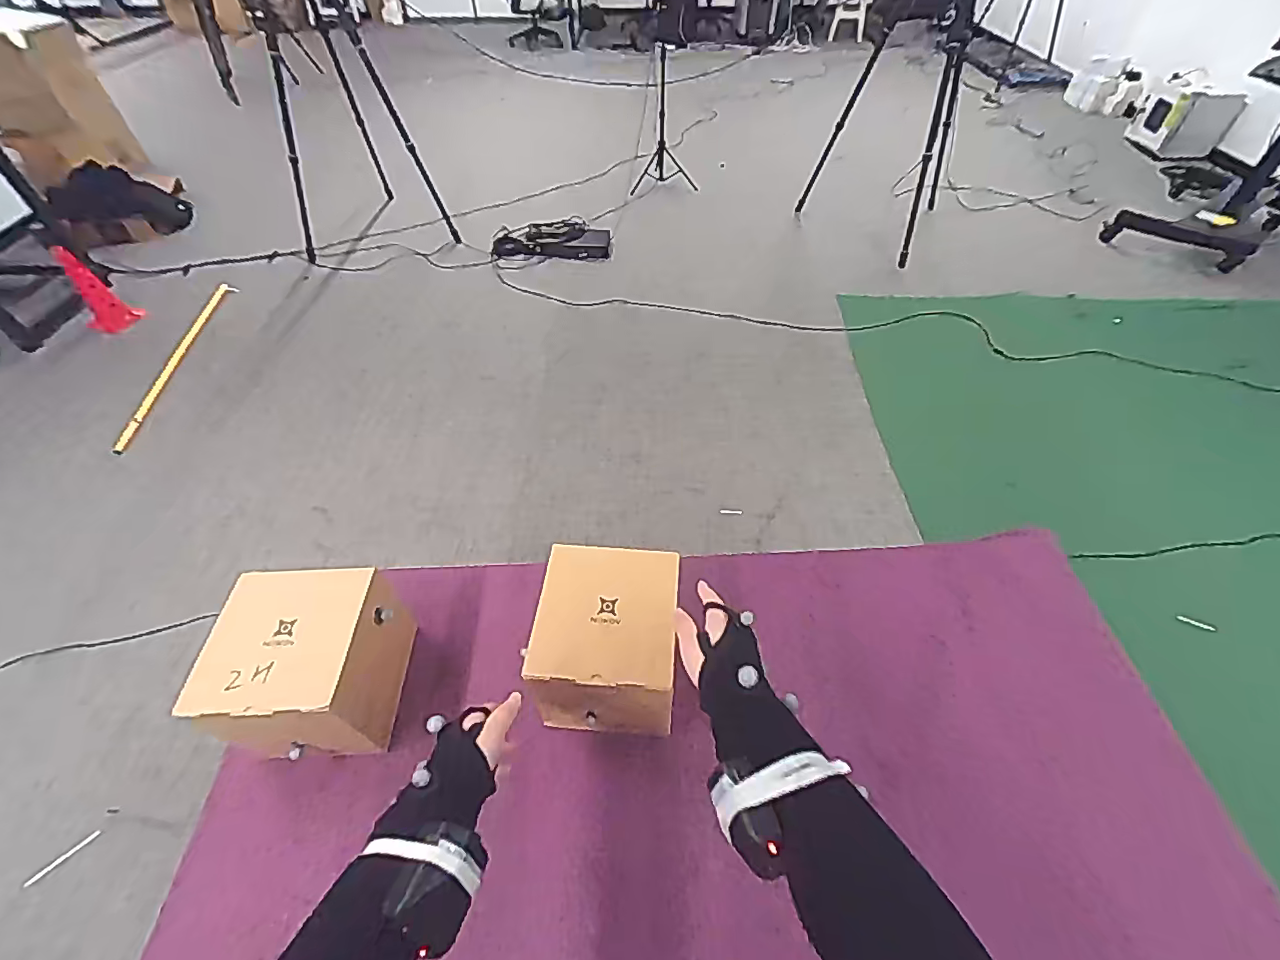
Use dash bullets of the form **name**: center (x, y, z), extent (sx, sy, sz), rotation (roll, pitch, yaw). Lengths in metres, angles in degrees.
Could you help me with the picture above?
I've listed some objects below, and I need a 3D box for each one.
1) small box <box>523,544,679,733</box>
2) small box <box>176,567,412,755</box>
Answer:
- **small box**: center (-0.040, 0.205, 0.698), extent (0.168, 0.176, 0.179), rotation (4, 51, 4)
- **small box**: center (-0.407, 0.228, 0.680), extent (0.168, 0.176, 0.179), rotation (-2, 50, 0)
